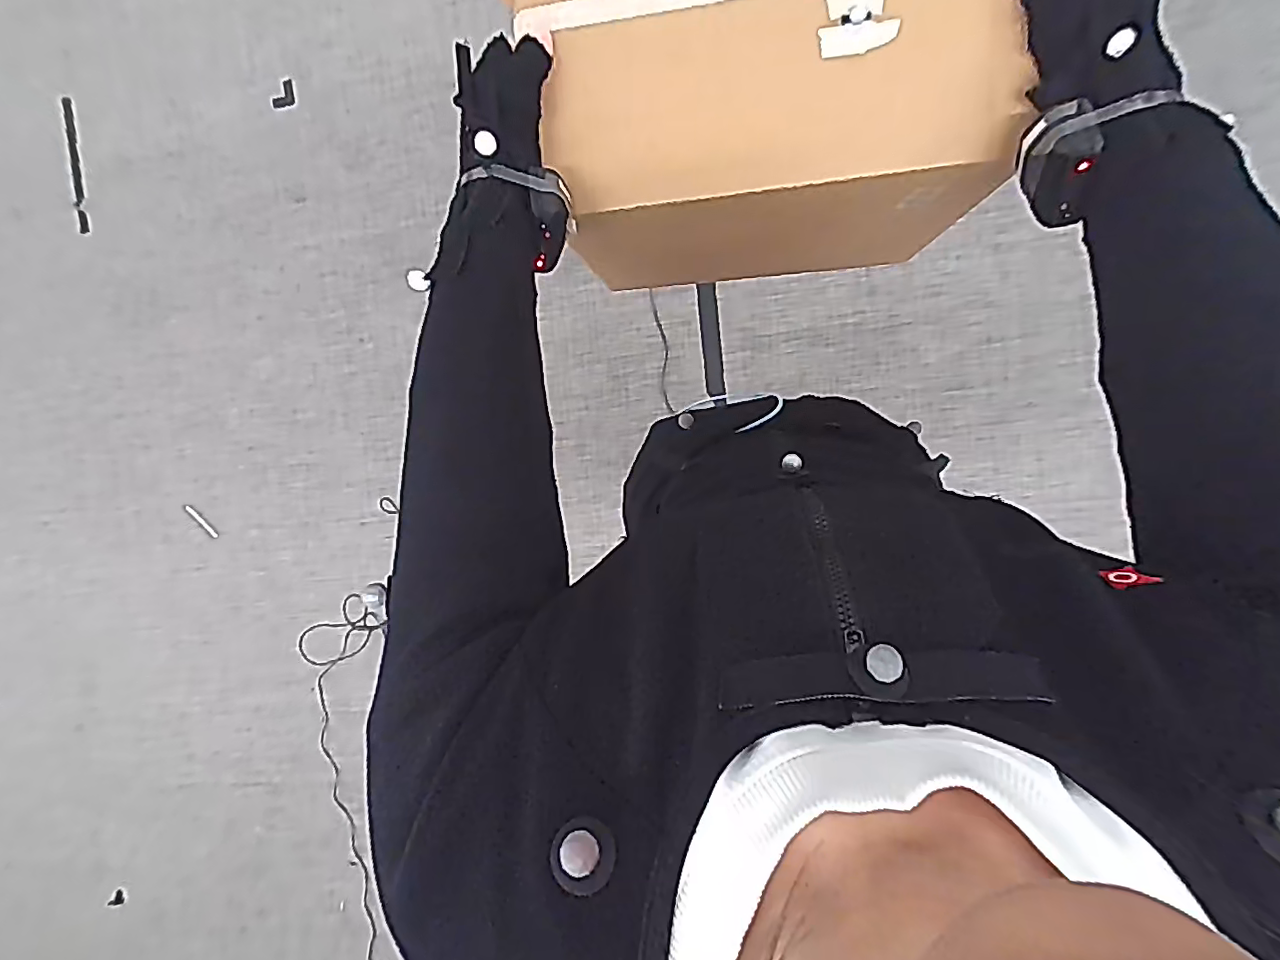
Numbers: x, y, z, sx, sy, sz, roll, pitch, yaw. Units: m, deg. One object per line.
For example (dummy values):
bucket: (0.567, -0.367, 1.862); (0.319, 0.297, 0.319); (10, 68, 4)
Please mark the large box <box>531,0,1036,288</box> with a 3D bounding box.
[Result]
large box: (0.121, -0.419, 0.583); (0.408, 0.320, 0.320); (-4, 97, 8)
